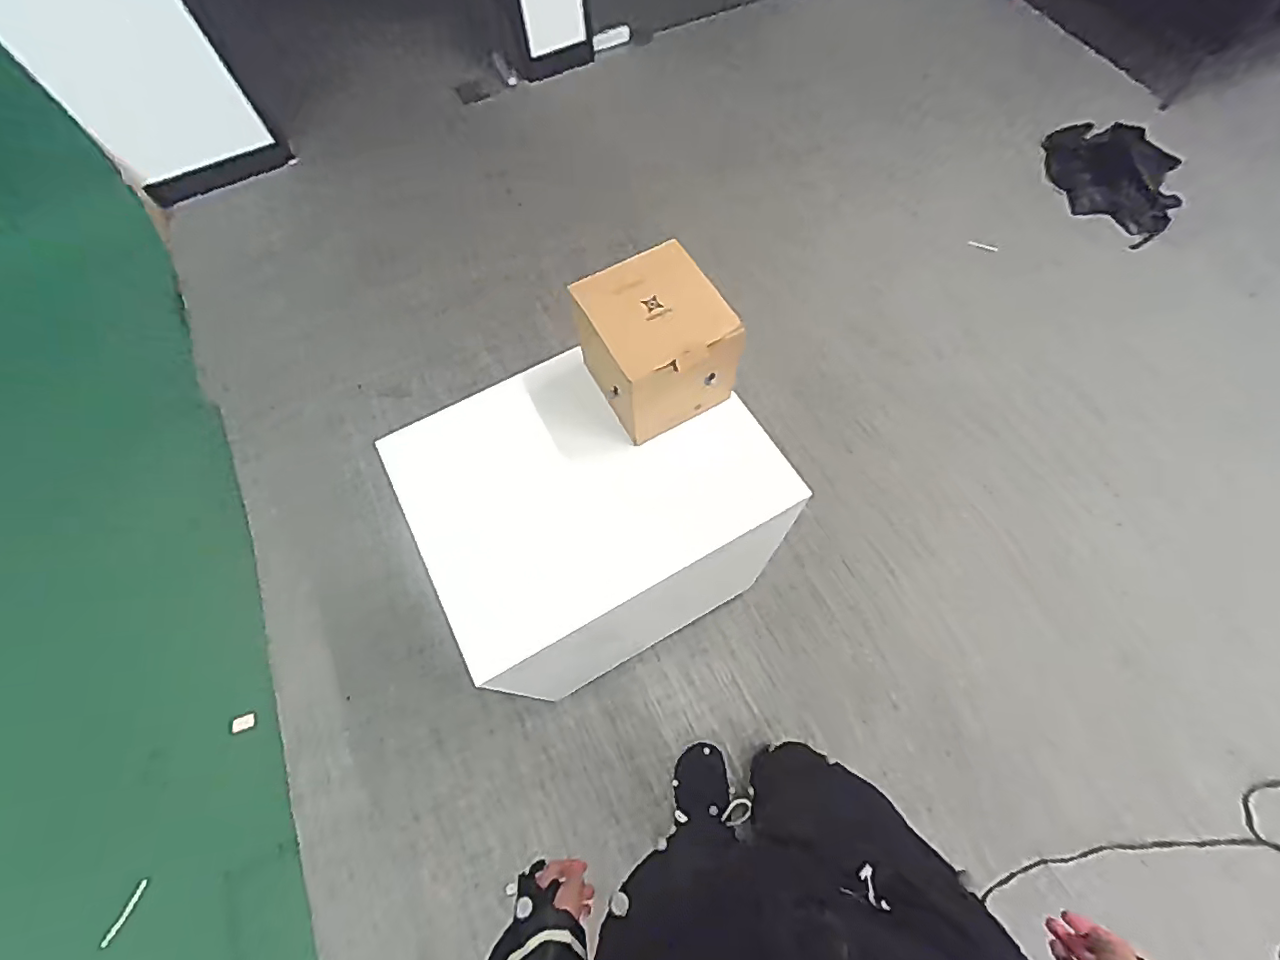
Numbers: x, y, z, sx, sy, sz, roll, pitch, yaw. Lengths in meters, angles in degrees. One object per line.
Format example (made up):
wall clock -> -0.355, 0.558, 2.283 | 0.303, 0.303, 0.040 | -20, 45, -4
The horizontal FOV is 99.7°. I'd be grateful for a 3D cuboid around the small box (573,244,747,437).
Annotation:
small box -> 0.026, -0.182, 0.755 | 0.168, 0.176, 0.179 | -27, 67, -10
